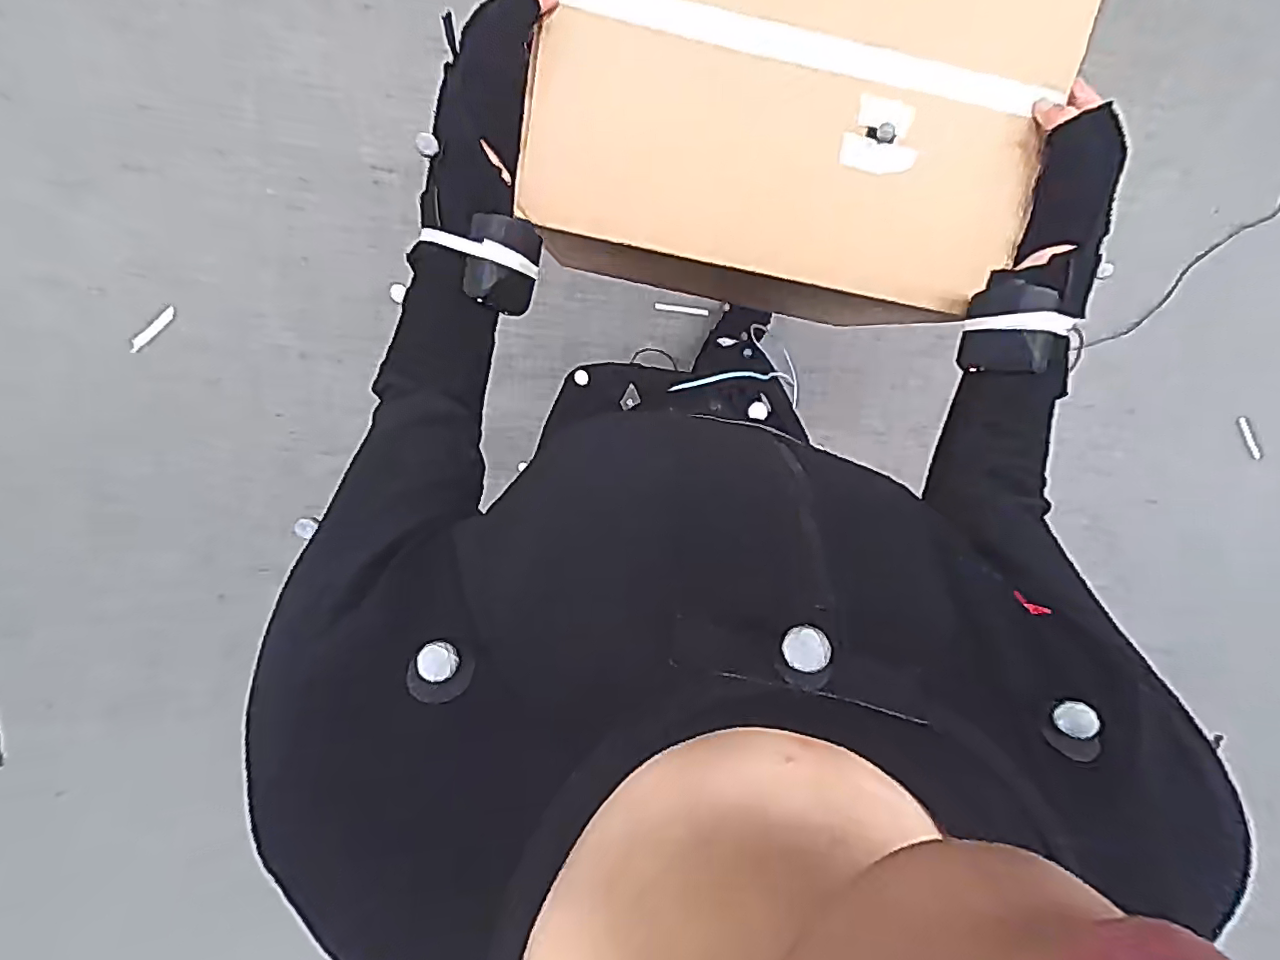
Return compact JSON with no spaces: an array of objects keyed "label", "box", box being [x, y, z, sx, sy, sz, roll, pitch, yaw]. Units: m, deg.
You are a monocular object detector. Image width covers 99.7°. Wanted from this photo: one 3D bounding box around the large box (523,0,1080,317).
[{"label":"large box","box":[0.116,-0.363,0.555,0.408,0.320,0.320,10,105,-6]}]
